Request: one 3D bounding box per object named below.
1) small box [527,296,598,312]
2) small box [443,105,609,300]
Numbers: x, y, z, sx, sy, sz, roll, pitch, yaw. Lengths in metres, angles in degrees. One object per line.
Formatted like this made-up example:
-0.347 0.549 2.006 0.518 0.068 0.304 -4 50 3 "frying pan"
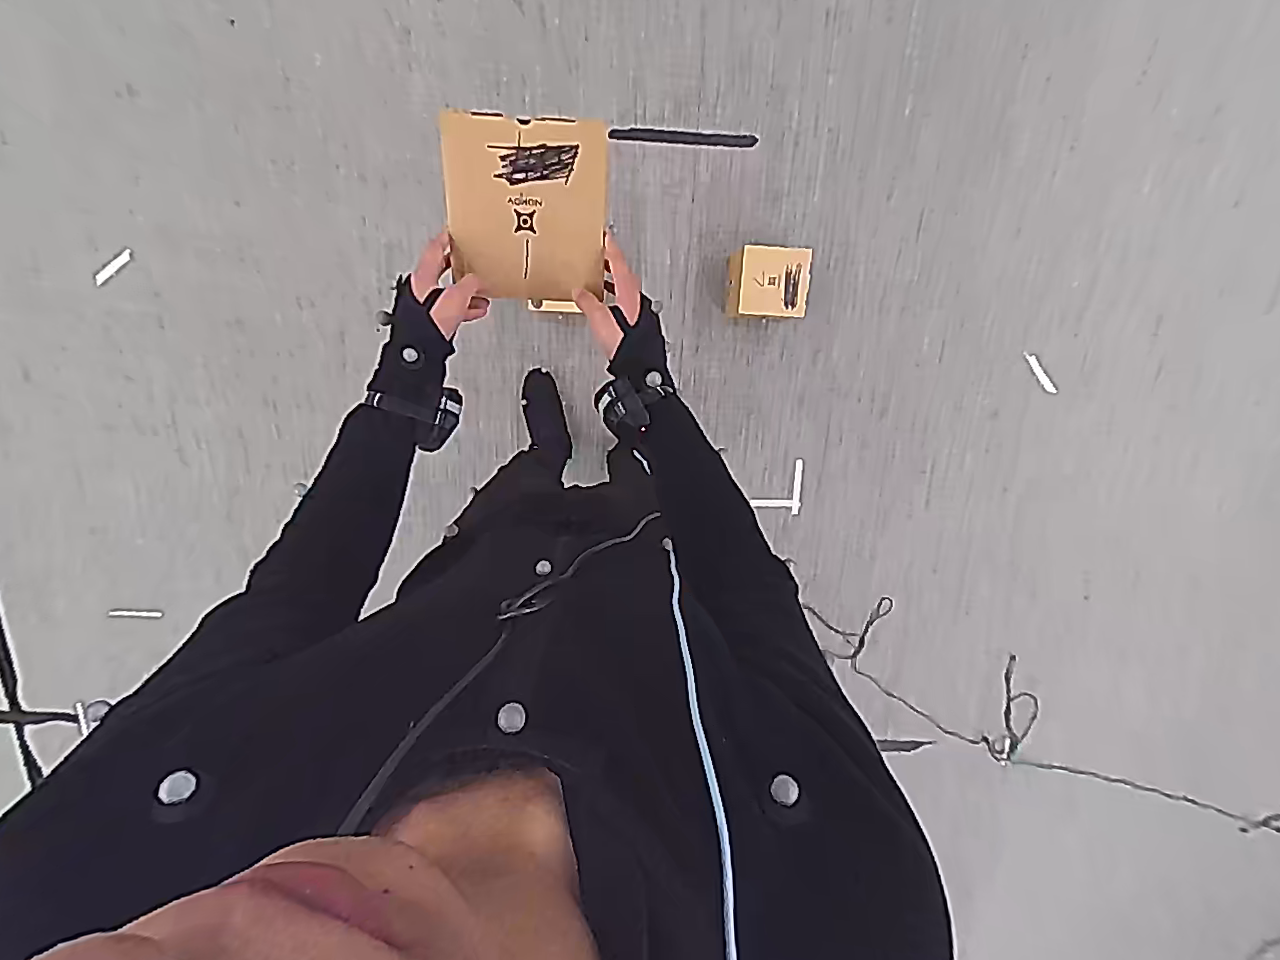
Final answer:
-0.196 -0.531 1.412 0.179 0.176 0.168 2 105 -2 "small box"
-0.122 -0.313 0.638 0.168 0.176 0.179 2 112 -3 "small box"
